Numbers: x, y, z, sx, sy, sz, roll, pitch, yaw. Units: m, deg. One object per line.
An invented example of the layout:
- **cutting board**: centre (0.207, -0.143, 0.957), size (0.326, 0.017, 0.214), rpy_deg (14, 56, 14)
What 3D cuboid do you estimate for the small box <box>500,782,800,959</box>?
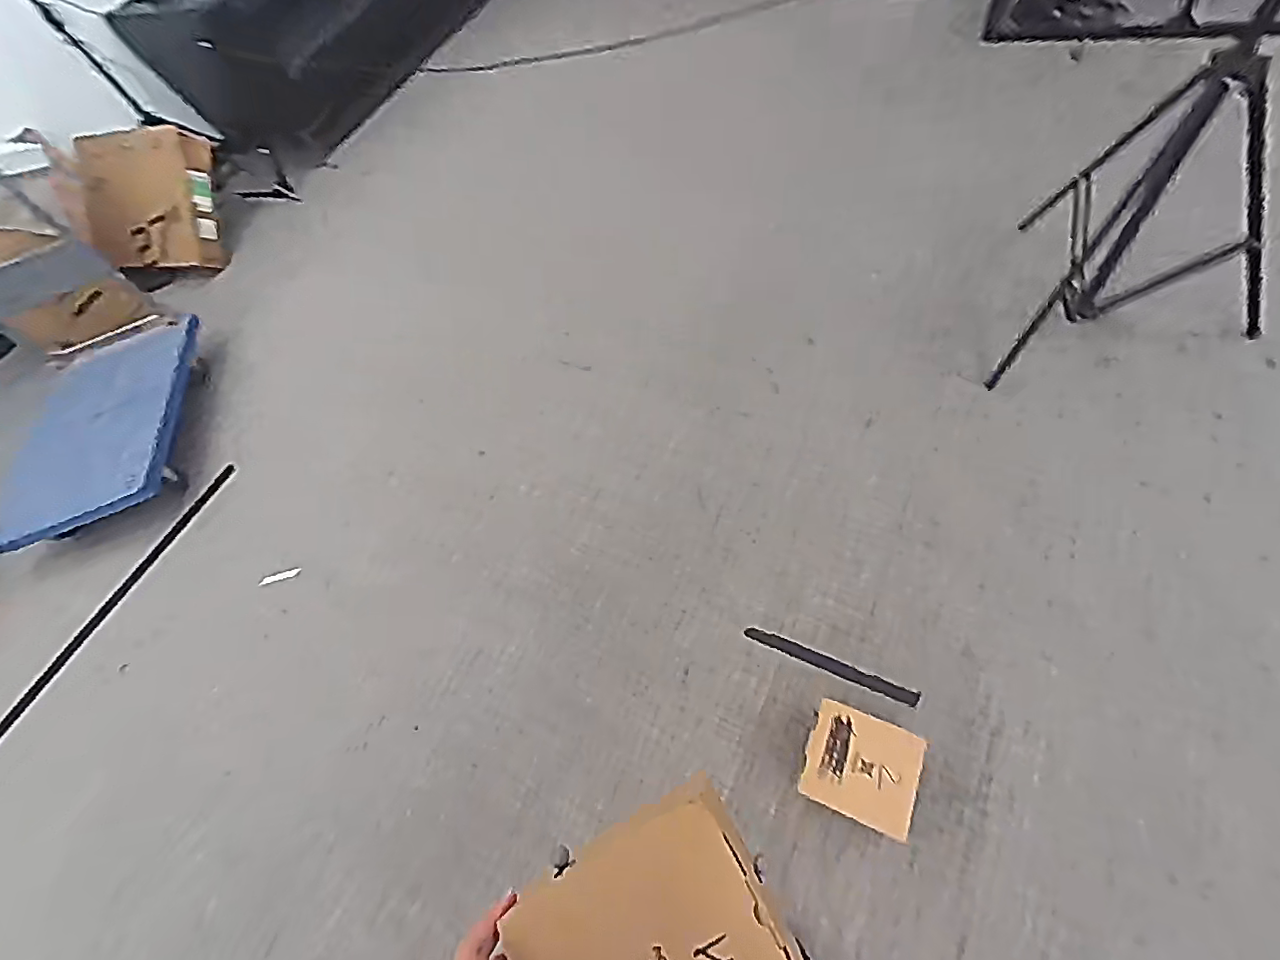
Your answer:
- **small box**: centre (0.022, 0.372, 0.432), size (0.179, 0.176, 0.168), rpy_deg (-29, 67, -6)
